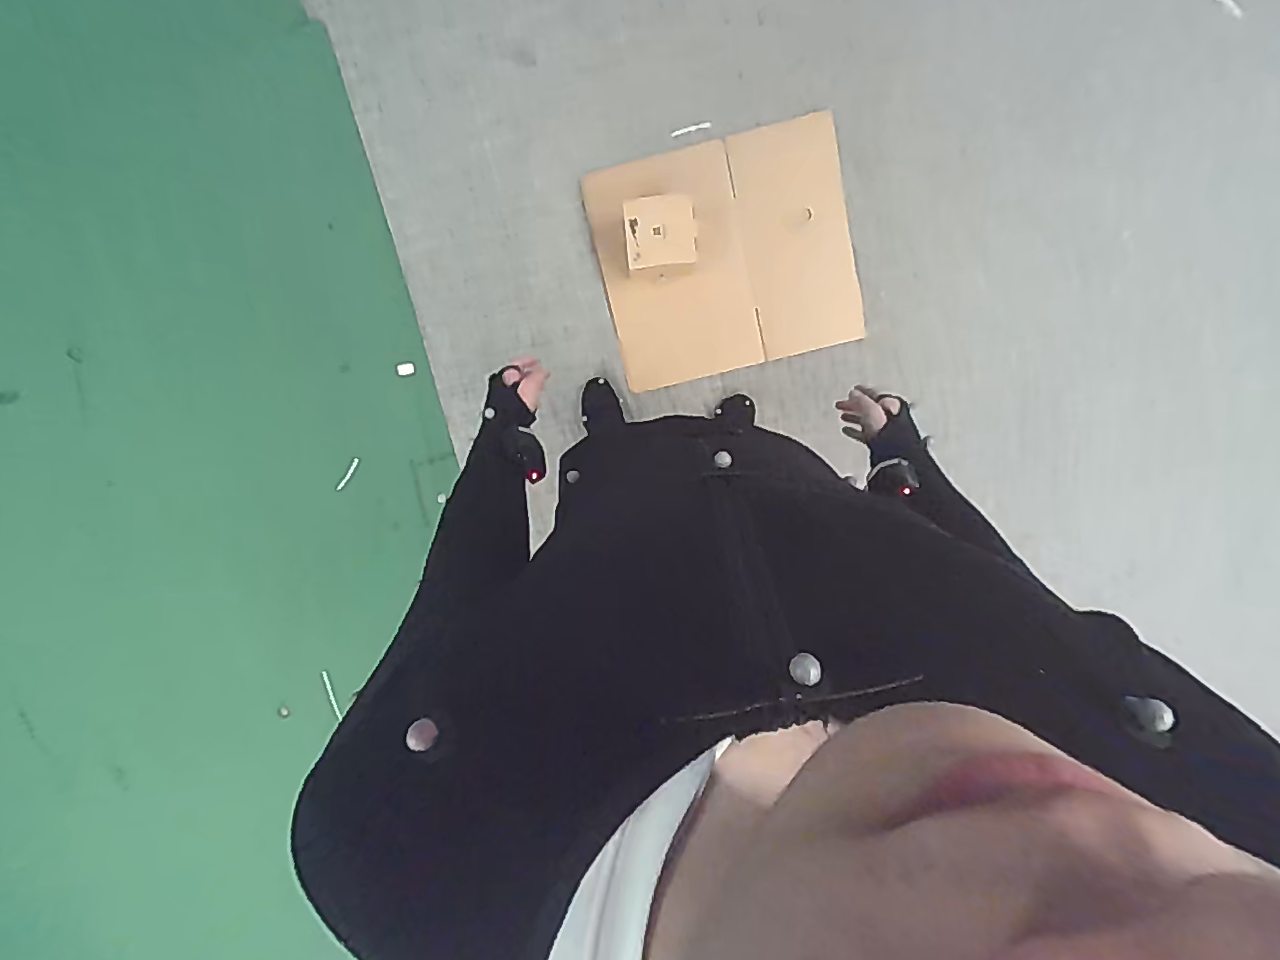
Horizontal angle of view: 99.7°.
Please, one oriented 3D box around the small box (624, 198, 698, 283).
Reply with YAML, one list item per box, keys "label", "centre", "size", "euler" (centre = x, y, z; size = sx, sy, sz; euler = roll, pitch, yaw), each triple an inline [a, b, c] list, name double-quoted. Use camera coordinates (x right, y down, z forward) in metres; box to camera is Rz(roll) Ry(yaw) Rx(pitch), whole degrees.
- label: "small box"
  centre: [0.052, -0.623, 1.423]
  size: [0.179, 0.176, 0.168]
  euler: [-5, 100, 1]
